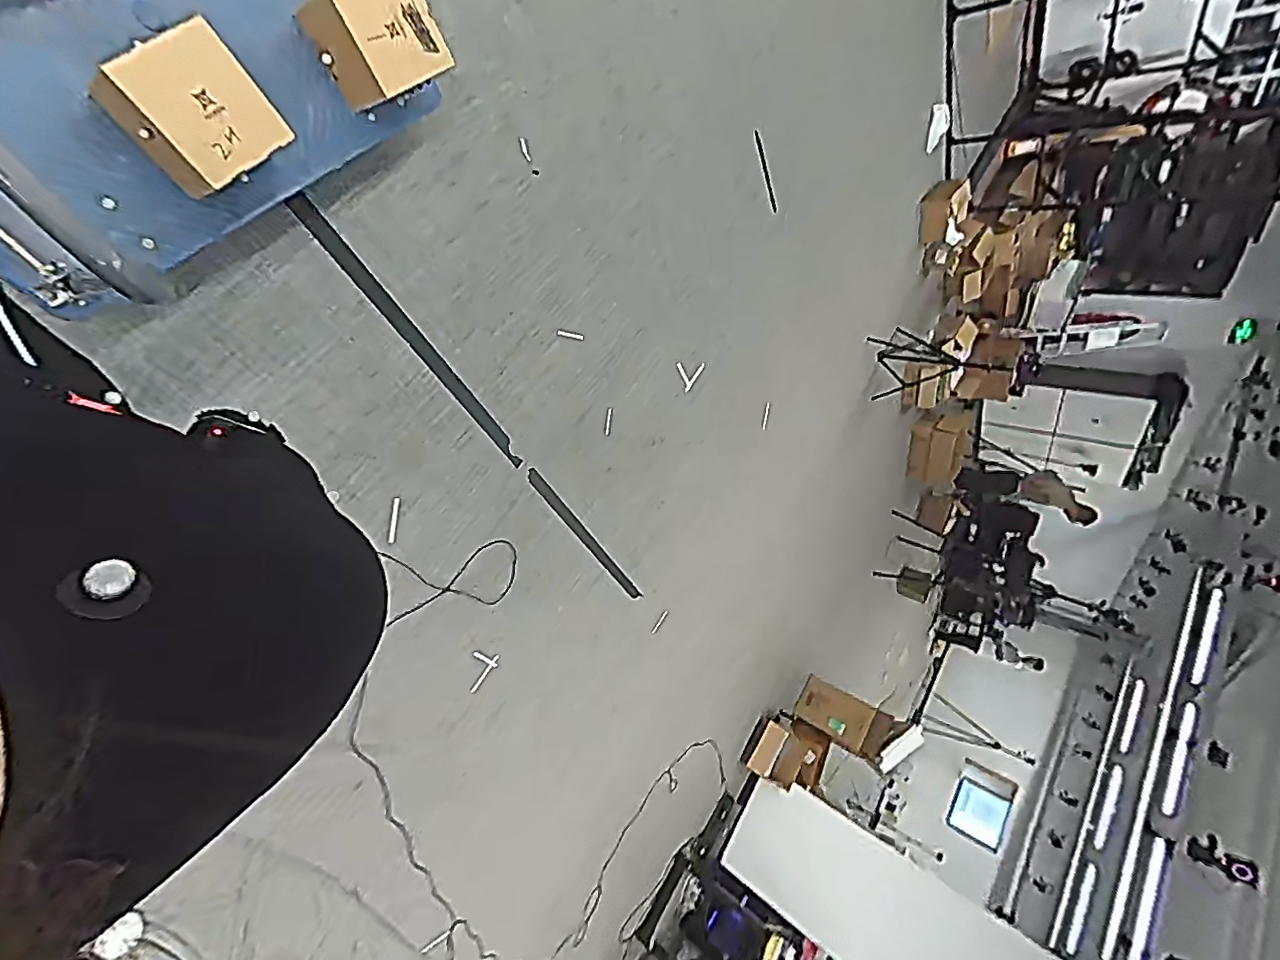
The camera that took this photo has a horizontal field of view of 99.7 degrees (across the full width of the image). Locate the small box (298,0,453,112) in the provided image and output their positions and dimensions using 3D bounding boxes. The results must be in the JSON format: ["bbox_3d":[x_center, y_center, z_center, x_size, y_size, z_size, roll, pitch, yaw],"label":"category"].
[{"bbox_3d":[-0.507,-0.840,1.037,0.179,0.176,0.168,-49,136,-24],"label":"small box"}]

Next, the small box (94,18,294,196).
[{"bbox_3d":[-0.722,-0.591,0.877,0.168,0.176,0.179,-53,138,-22],"label":"small box"}]
